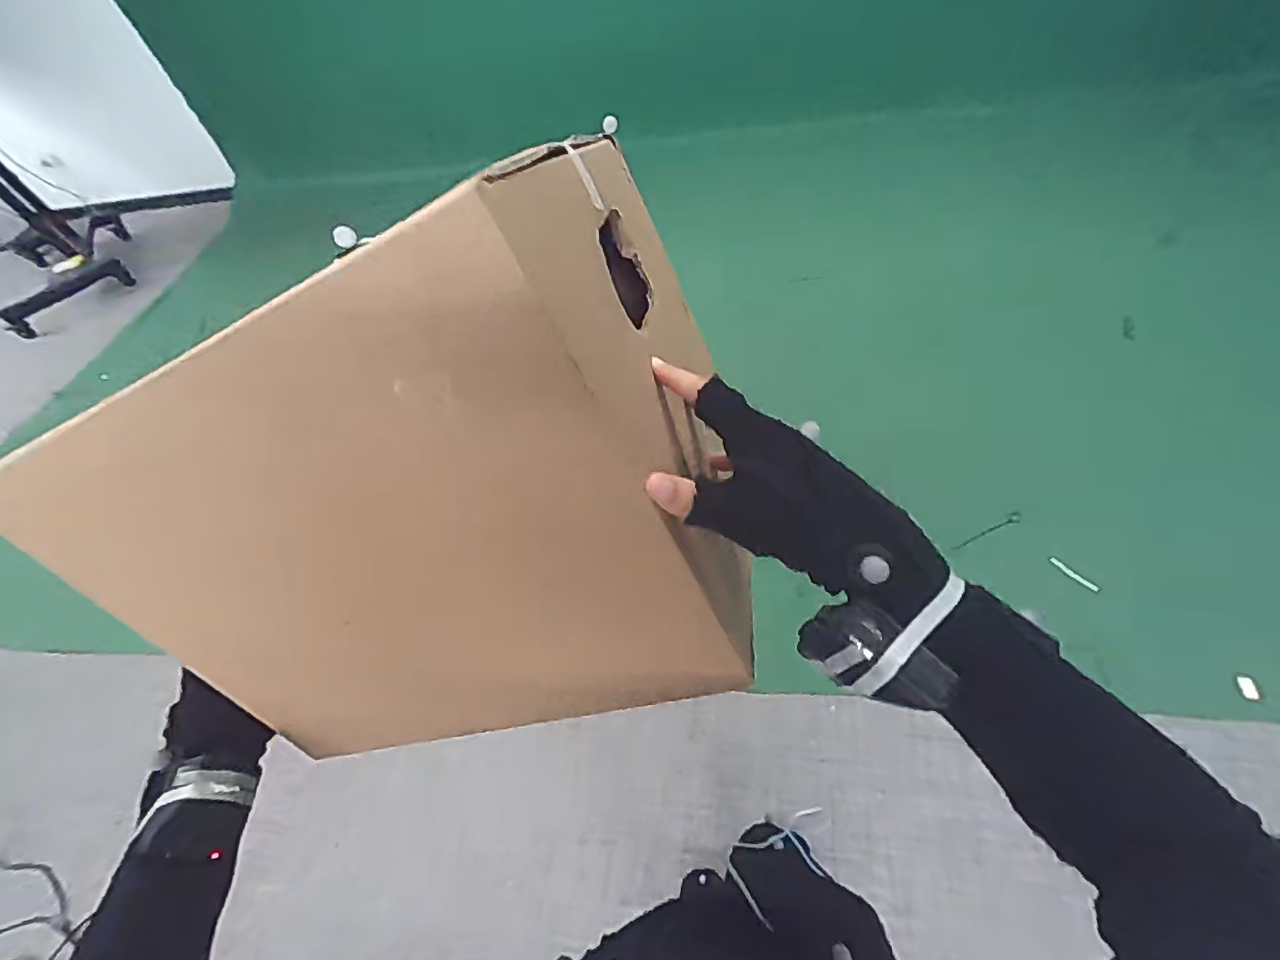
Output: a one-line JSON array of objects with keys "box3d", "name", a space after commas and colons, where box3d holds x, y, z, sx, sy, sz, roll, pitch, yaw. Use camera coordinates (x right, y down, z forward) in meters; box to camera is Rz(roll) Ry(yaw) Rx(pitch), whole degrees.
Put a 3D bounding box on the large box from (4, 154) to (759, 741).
[{"box3d": [-0.142, -0.020, 0.469, 0.408, 0.320, 0.320, -17, 32, 19], "name": "large box"}]
